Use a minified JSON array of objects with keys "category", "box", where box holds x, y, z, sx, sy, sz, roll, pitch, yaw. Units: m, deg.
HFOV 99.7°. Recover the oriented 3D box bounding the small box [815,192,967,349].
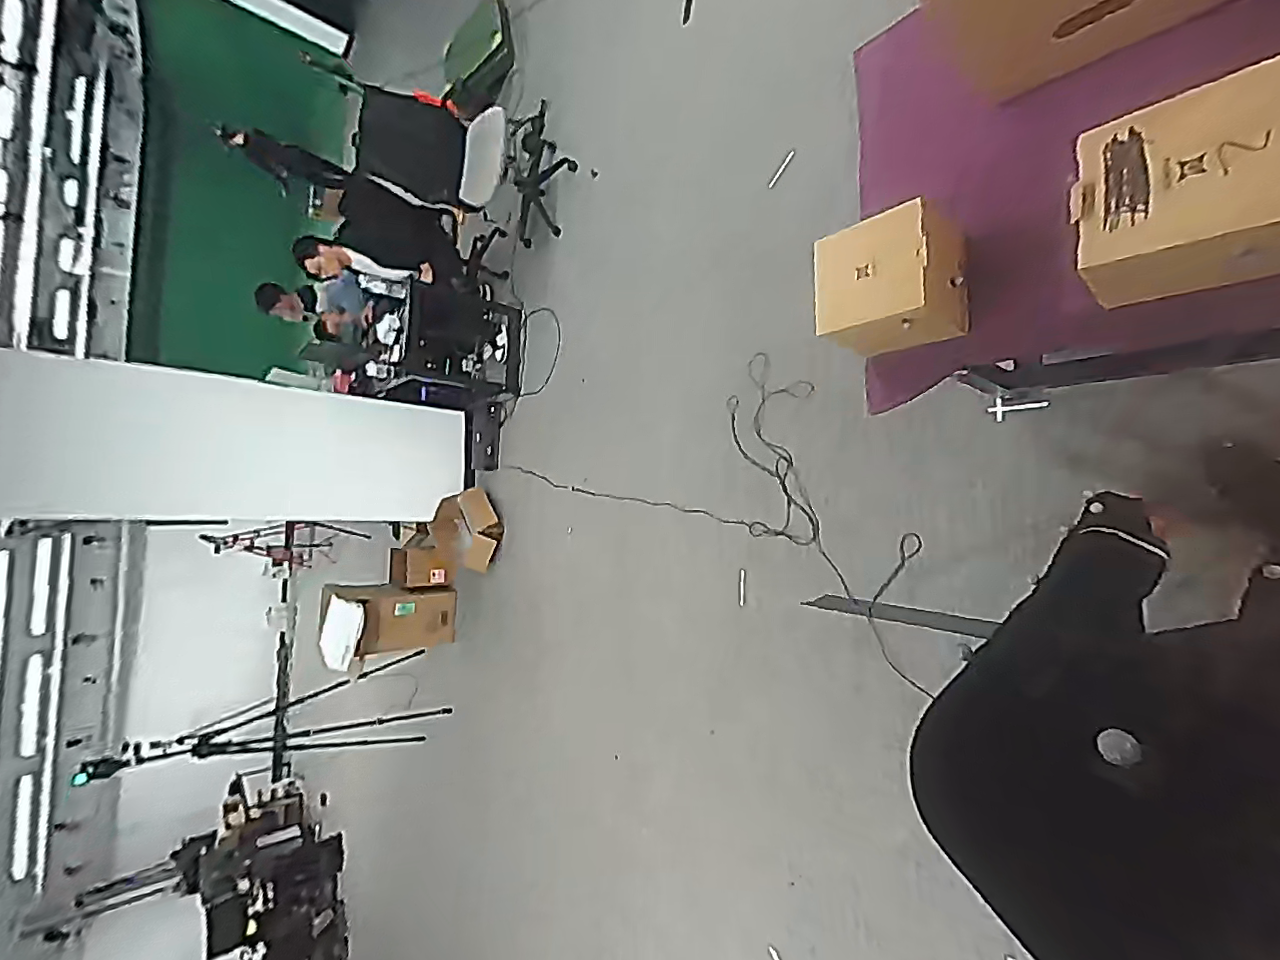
[{"category":"small box","box":[0.408,-0.324,0.884,0.179,0.176,0.168,-4,84,48]}]
